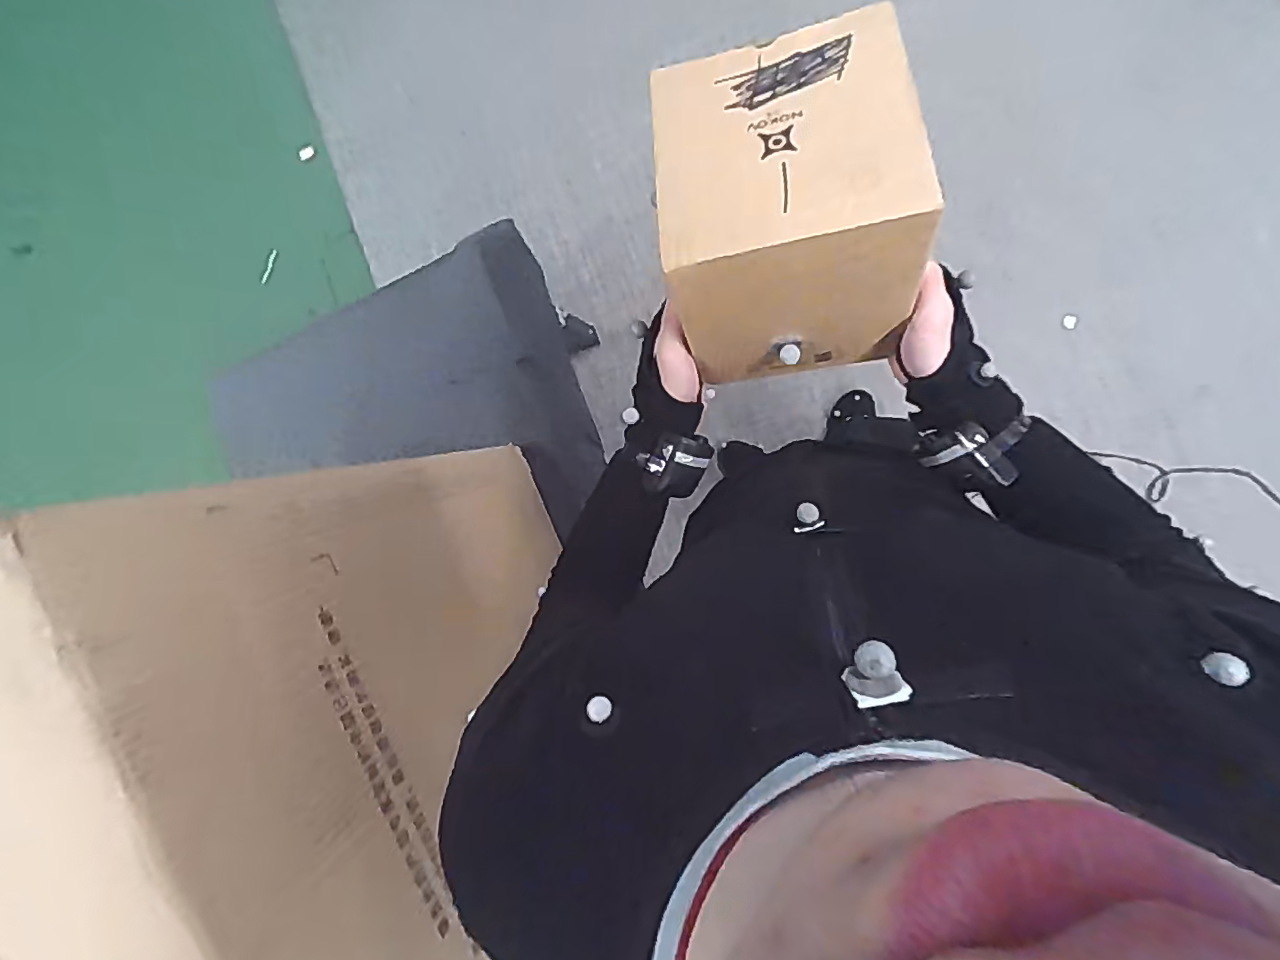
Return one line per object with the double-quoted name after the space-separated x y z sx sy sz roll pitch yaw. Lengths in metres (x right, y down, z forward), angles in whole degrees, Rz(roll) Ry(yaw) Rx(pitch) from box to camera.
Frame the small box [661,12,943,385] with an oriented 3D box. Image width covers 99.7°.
0.114 -0.198 0.424 0.168 0.176 0.179 -6 71 15 "small box"
